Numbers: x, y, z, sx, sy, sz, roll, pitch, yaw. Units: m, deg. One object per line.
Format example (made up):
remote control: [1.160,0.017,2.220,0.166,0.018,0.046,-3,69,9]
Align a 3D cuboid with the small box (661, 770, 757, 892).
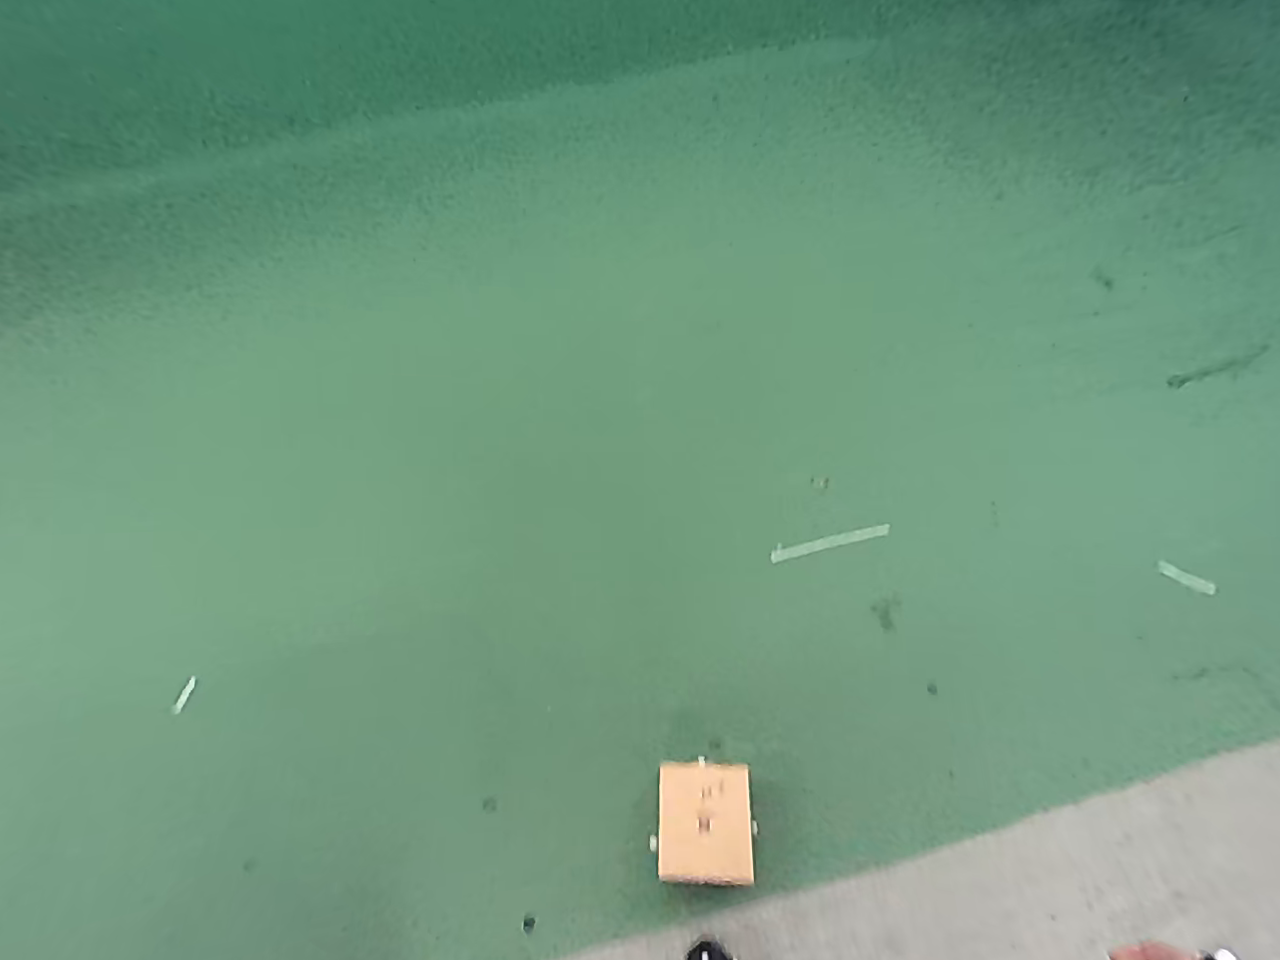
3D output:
small box: [0.126,0.656,1.025,0.168,0.176,0.179,1,59,3]
